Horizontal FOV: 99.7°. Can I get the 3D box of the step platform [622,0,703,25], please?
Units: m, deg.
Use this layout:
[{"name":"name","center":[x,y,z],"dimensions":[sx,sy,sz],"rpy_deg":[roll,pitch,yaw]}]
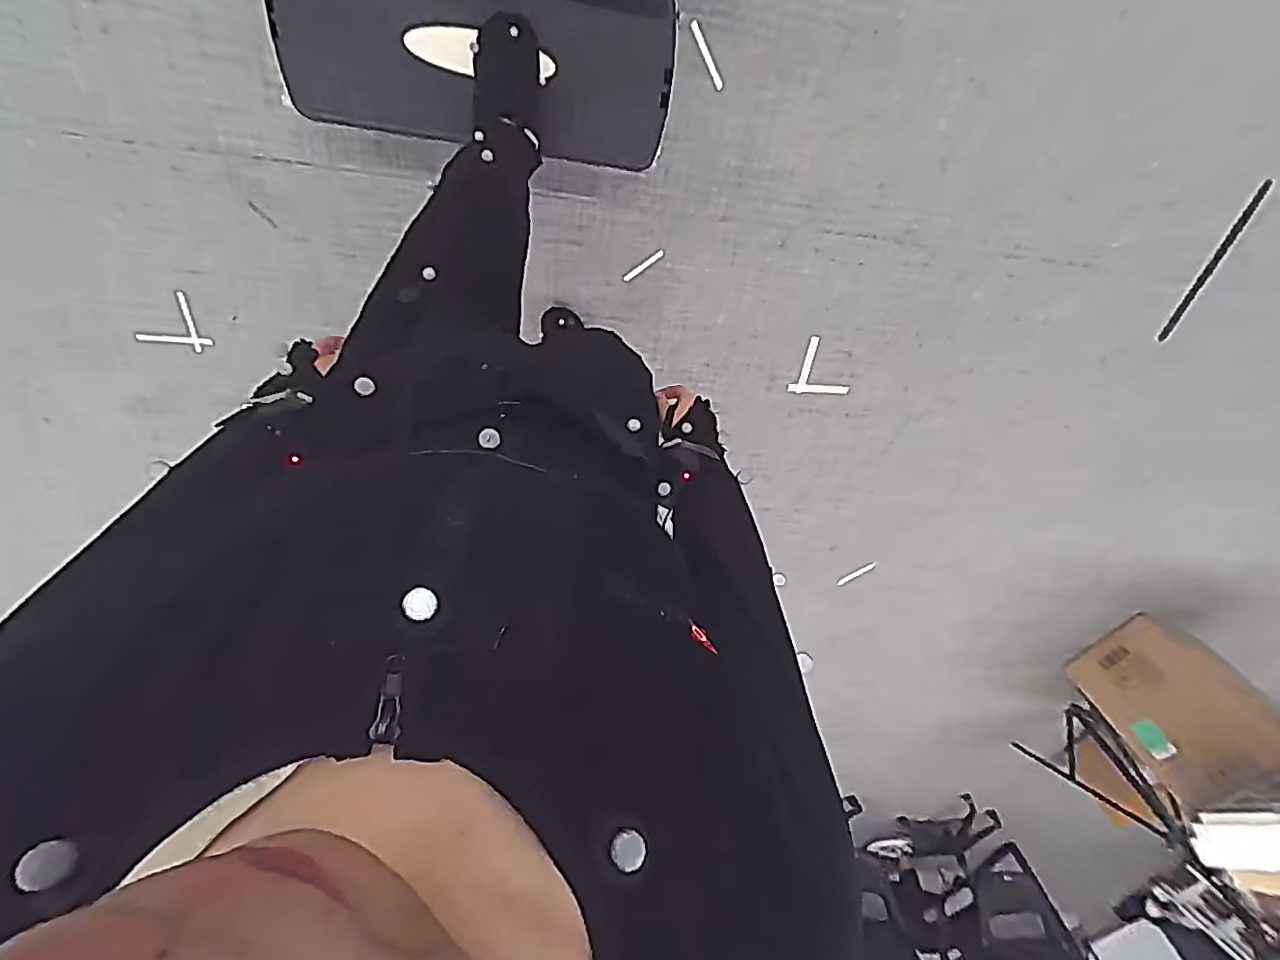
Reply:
[{"name":"step platform","center":[-0.192,-0.932,0.784],"dimensions":[0.684,0.204,0.286],"rpy_deg":[7,123,-13]}]
